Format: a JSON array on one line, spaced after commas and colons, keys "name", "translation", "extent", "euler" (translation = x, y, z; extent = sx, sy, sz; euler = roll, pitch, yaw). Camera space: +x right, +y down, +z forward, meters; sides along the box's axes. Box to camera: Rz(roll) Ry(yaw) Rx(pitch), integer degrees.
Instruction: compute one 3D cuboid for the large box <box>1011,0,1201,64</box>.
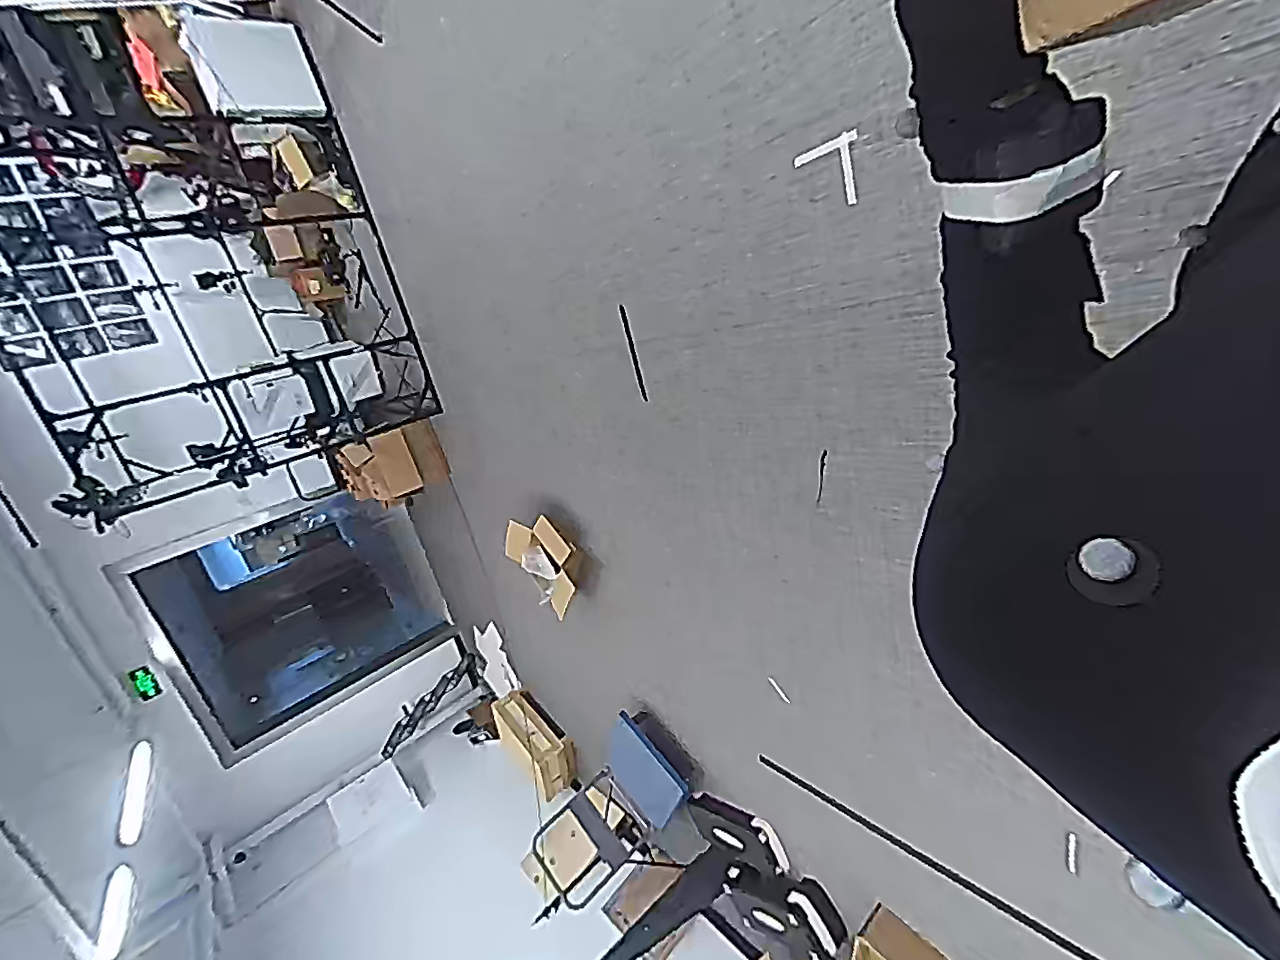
[{"name": "large box", "translation": [0.363, -0.408, 0.146], "extent": [0.408, 0.320, 0.320], "euler": [4, 122, 51]}]
